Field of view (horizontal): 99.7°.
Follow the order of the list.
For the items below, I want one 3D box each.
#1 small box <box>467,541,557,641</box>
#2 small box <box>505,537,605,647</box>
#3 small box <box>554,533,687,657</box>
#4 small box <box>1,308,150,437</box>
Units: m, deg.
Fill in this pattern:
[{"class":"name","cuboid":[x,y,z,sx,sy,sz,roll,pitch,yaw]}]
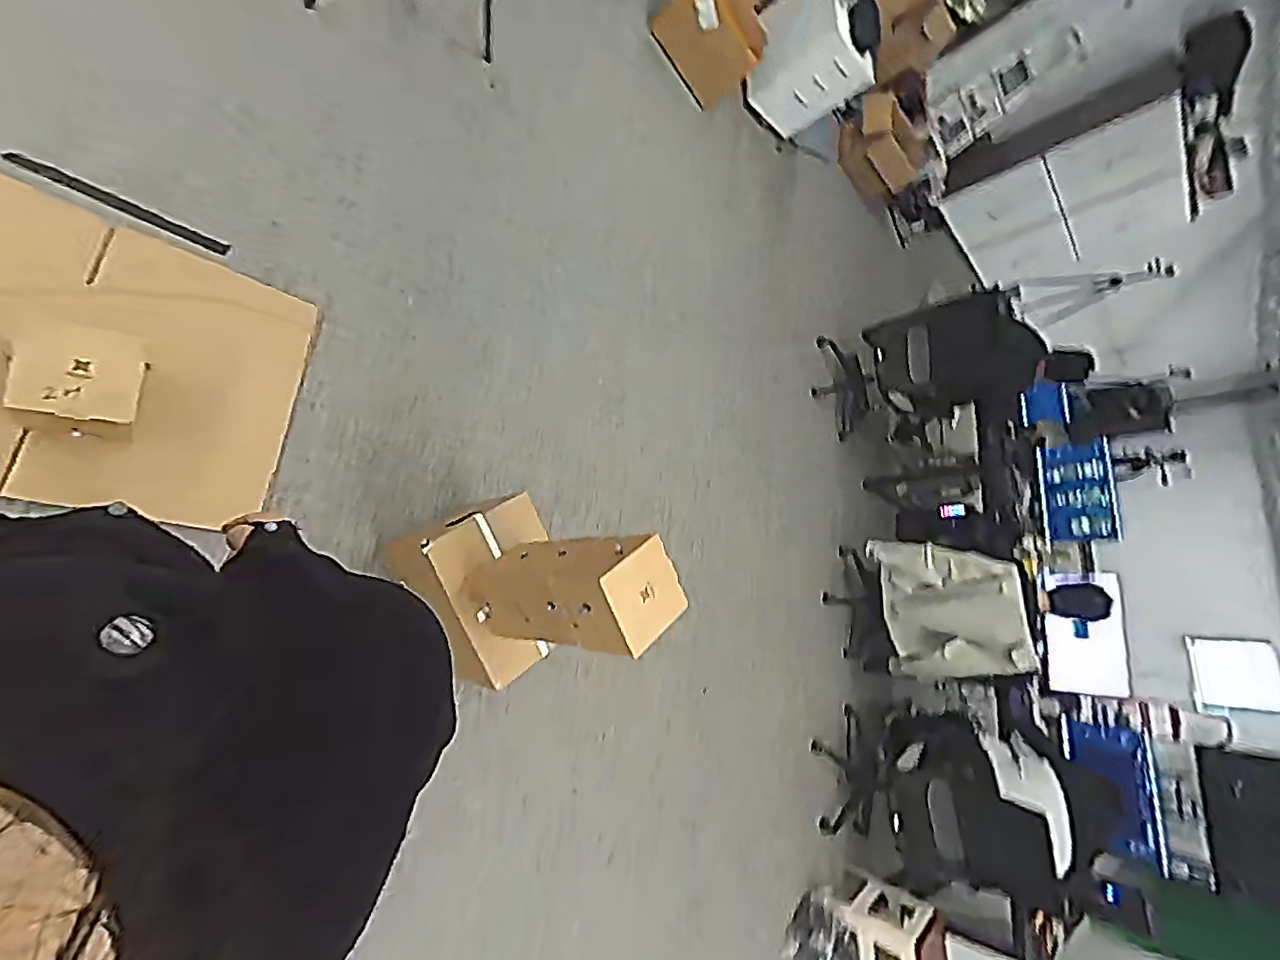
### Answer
[{"class":"small box","cuboid":[-0.274,0.258,1.286,0.179,0.176,0.168,-33,106,-42]},{"class":"small box","cuboid":[-0.158,0.236,1.171,0.179,0.176,0.168,-33,106,-43]},{"class":"small box","cuboid":[-0.045,0.219,1.055,0.179,0.176,0.168,-34,106,-43]},{"class":"small box","cuboid":[-1.054,-0.192,1.023,0.168,0.176,0.179,9,77,-41]}]
